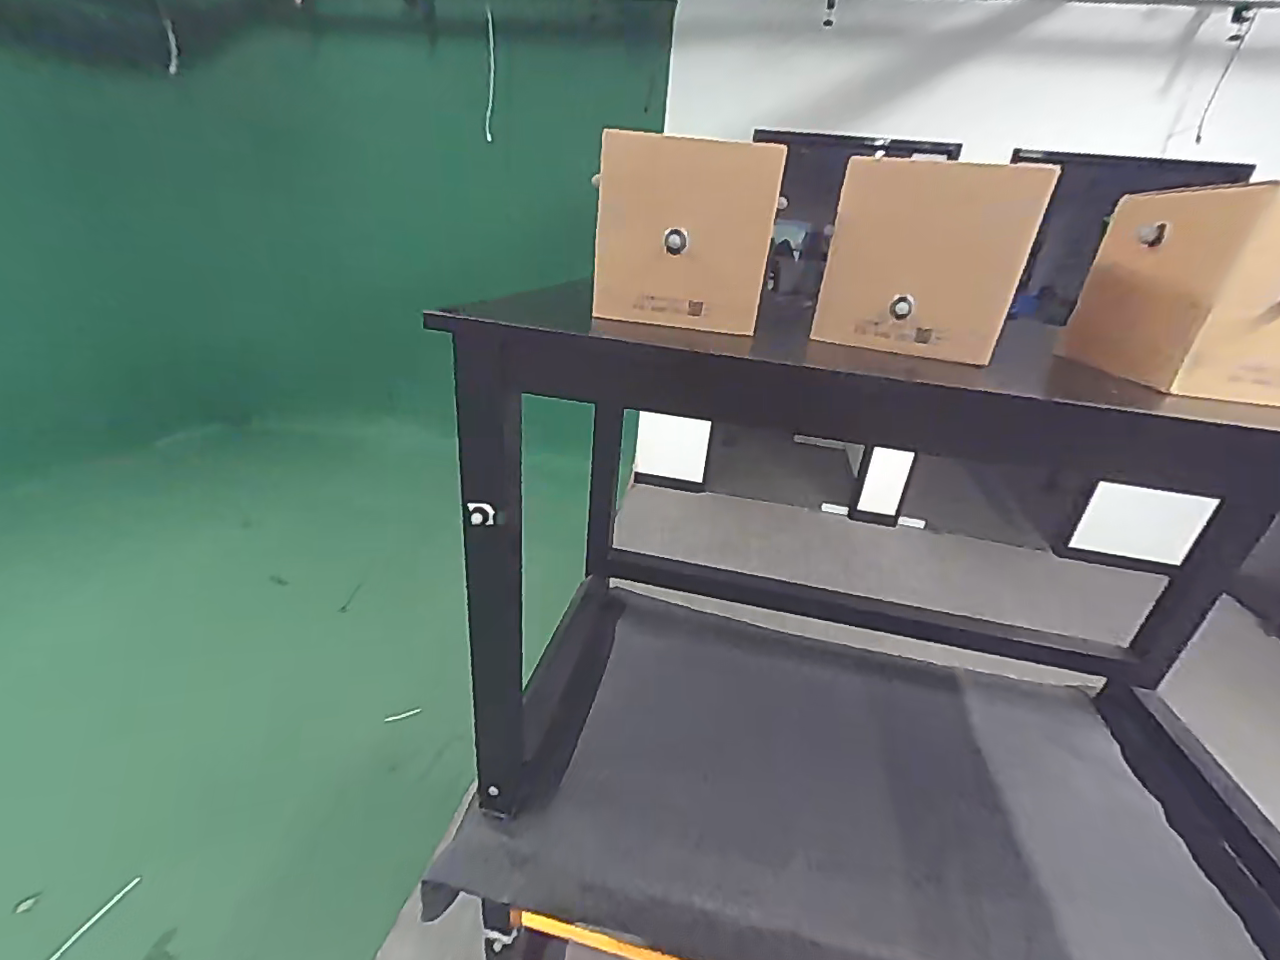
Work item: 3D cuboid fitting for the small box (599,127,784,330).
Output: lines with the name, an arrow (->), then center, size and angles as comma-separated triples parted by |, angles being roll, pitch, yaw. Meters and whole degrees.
small box -> 0.053, -0.264, 0.586 | 0.168, 0.176, 0.179 | 9, 25, 5

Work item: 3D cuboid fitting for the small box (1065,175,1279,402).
small box -> 0.551, -0.172, 0.498 | 0.168, 0.176, 0.179 | 8, 24, 4
